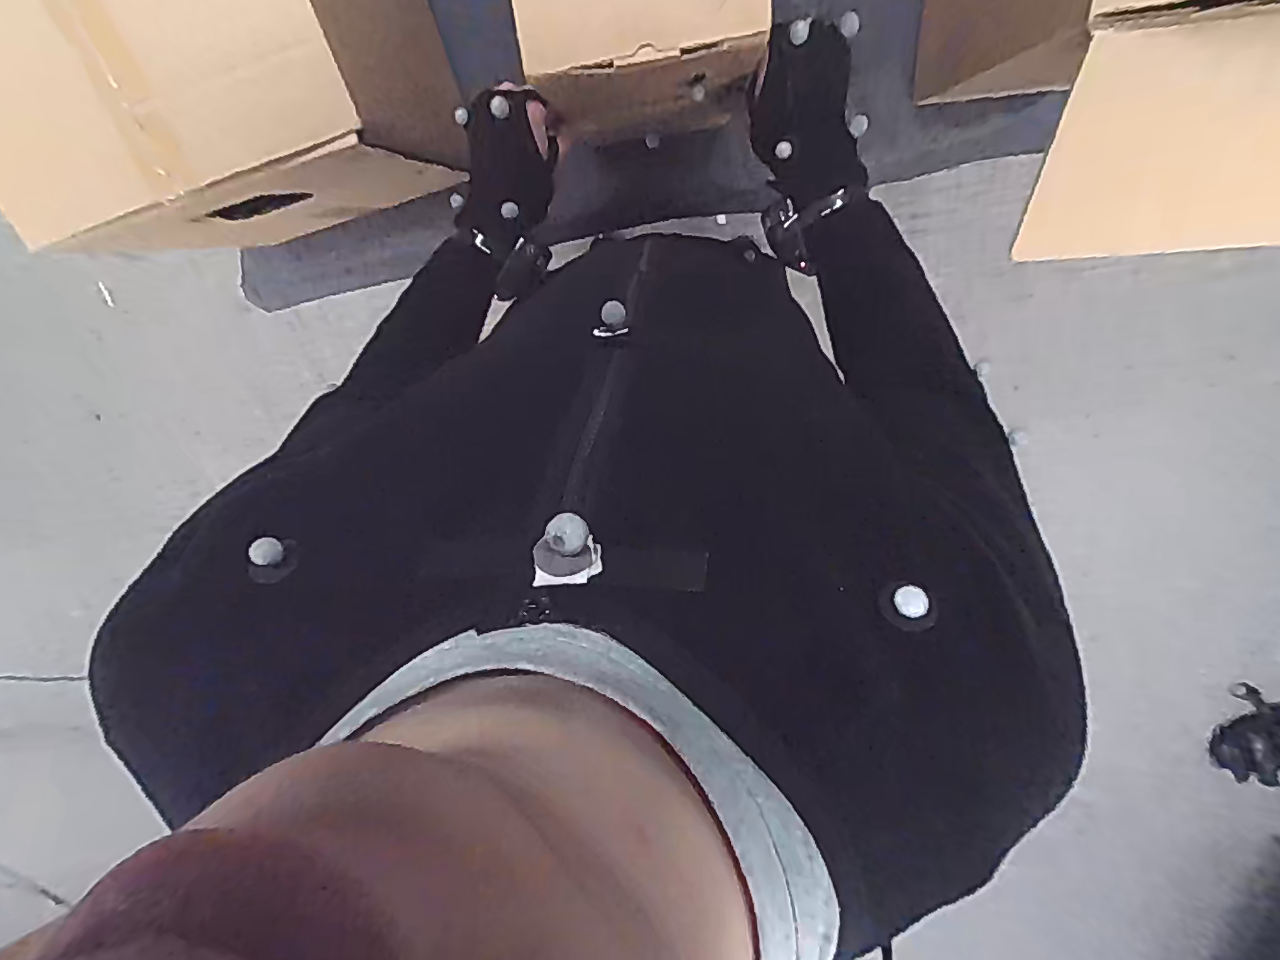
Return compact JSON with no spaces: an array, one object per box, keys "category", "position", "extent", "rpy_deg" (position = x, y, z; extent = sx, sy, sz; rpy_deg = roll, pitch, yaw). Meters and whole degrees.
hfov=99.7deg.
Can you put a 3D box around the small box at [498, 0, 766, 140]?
[{"category":"small box","position":[-0.006,-0.359,0.386],"extent":[0.168,0.176,0.179],"rpy_deg":[-7,115,6]}]
